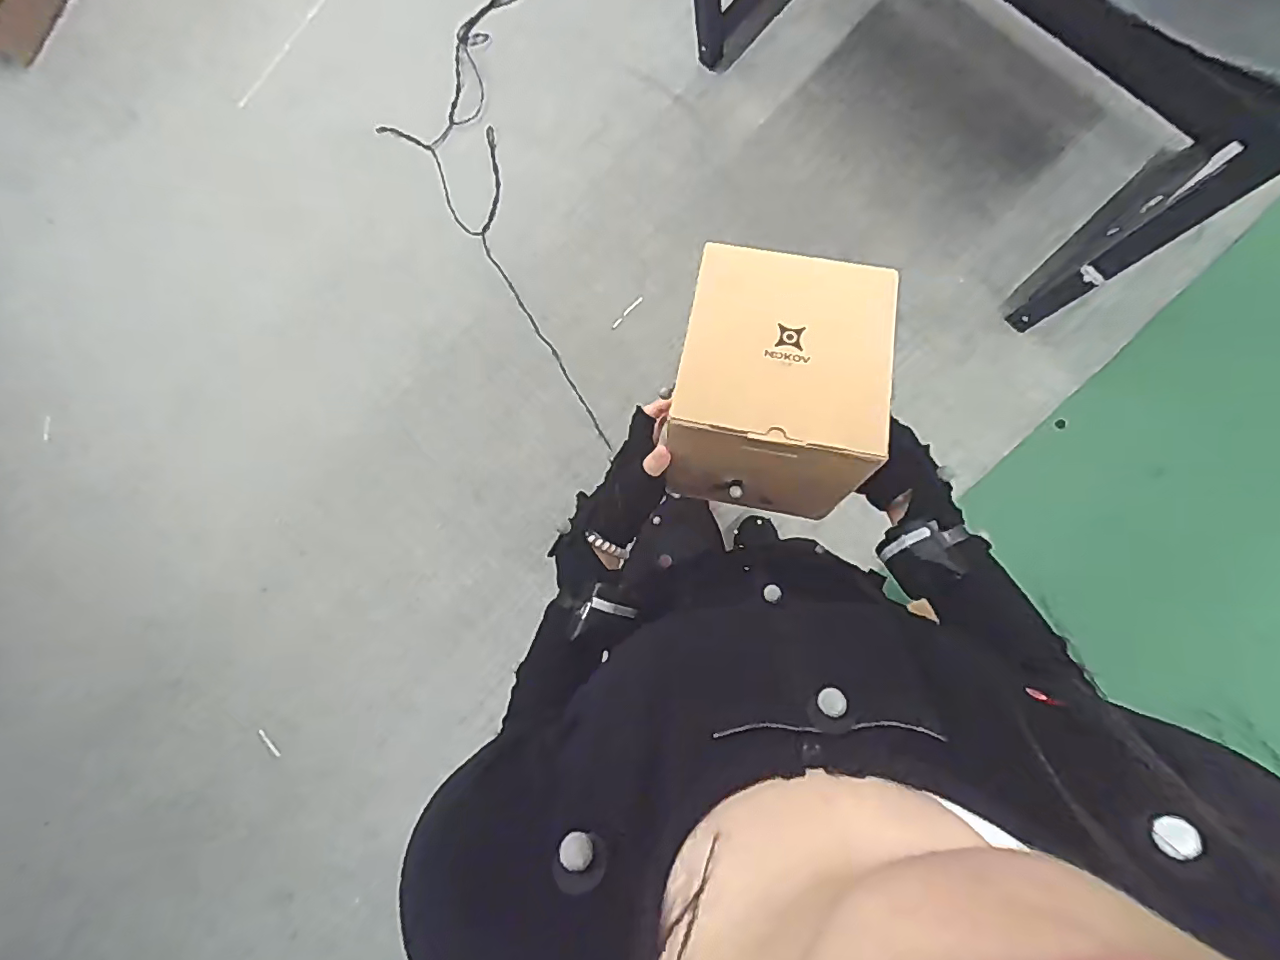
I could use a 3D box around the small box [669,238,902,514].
[{"bbox_3d":[0.122,-0.085,0.503,0.168,0.176,0.179,10,71,4],"label":"small box"}]
